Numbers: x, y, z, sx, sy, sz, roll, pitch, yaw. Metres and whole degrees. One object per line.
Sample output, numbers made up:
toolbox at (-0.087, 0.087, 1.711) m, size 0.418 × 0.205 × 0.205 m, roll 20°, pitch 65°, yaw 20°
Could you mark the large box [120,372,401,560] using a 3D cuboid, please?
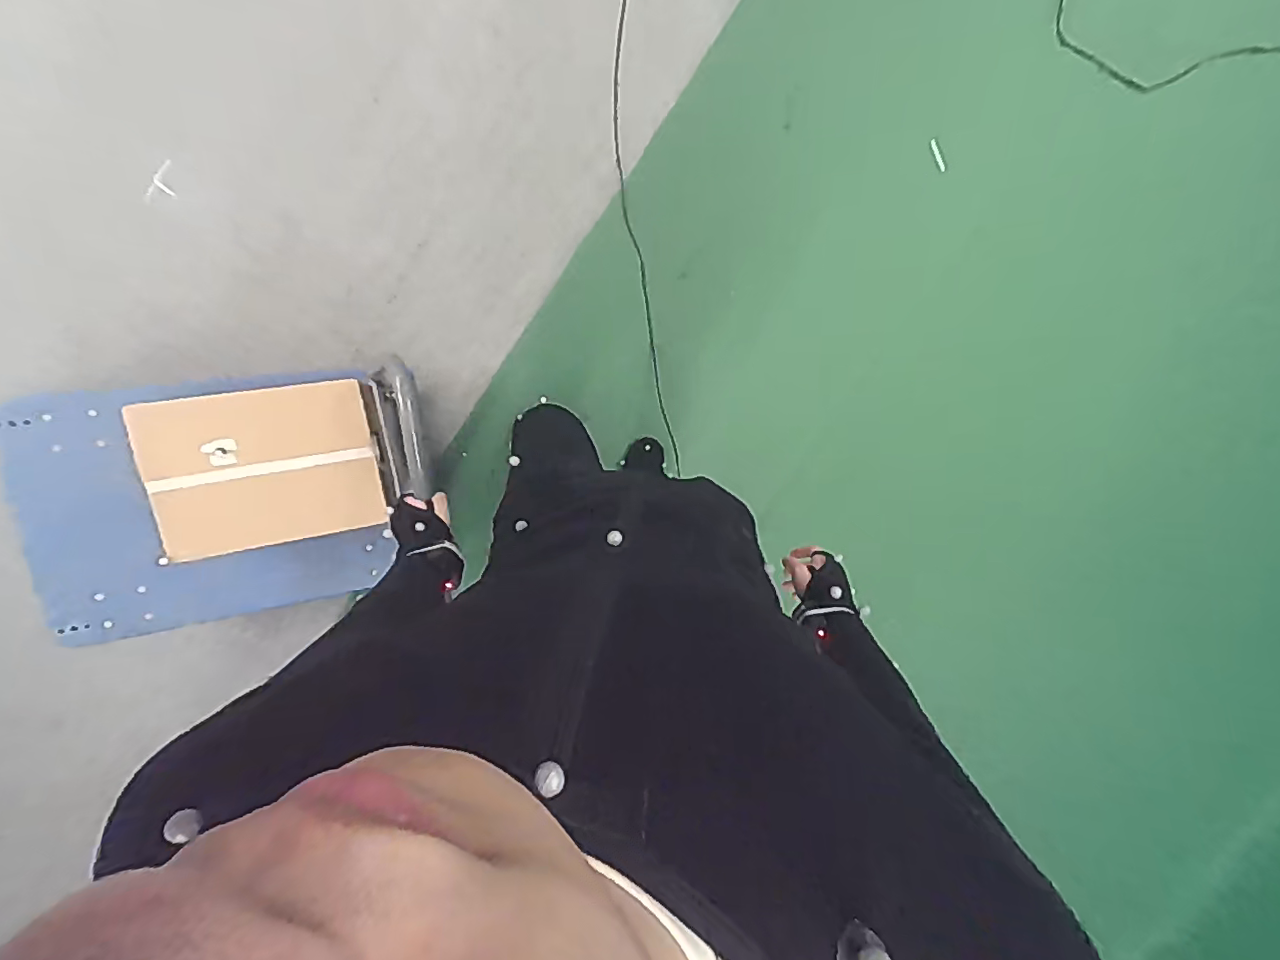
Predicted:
large box at (-0.796, -0.052, 1.217) m, size 0.408 × 0.320 × 0.320 m, roll -12°, pitch 100°, yaw -17°
